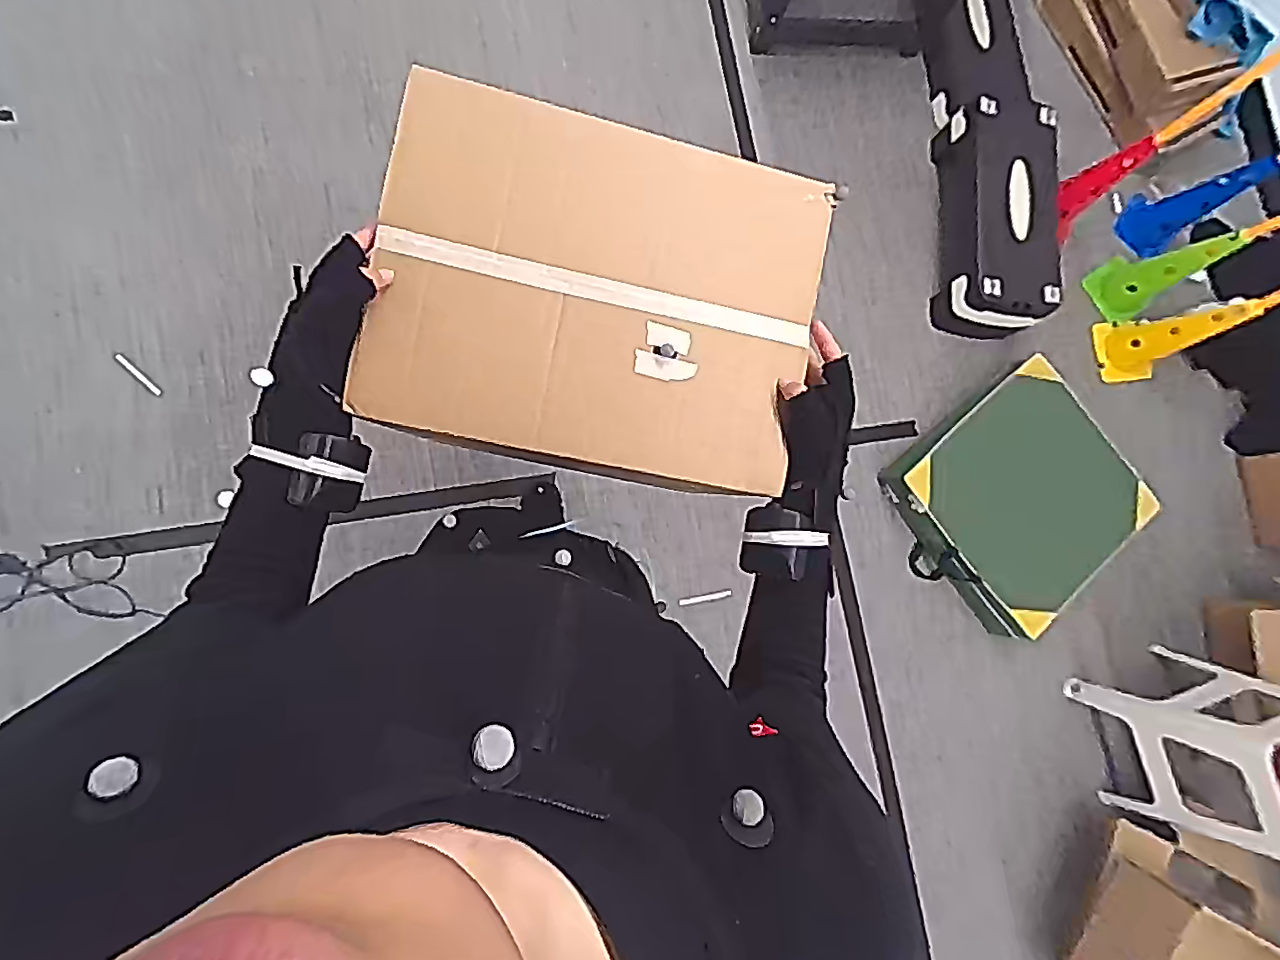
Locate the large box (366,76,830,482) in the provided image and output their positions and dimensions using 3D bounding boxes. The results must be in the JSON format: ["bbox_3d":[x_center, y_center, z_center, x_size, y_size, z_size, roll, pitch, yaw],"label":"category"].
[{"bbox_3d":[-0.050,-0.182,0.658,0.408,0.320,0.320,12,89,-9],"label":"large box"}]
